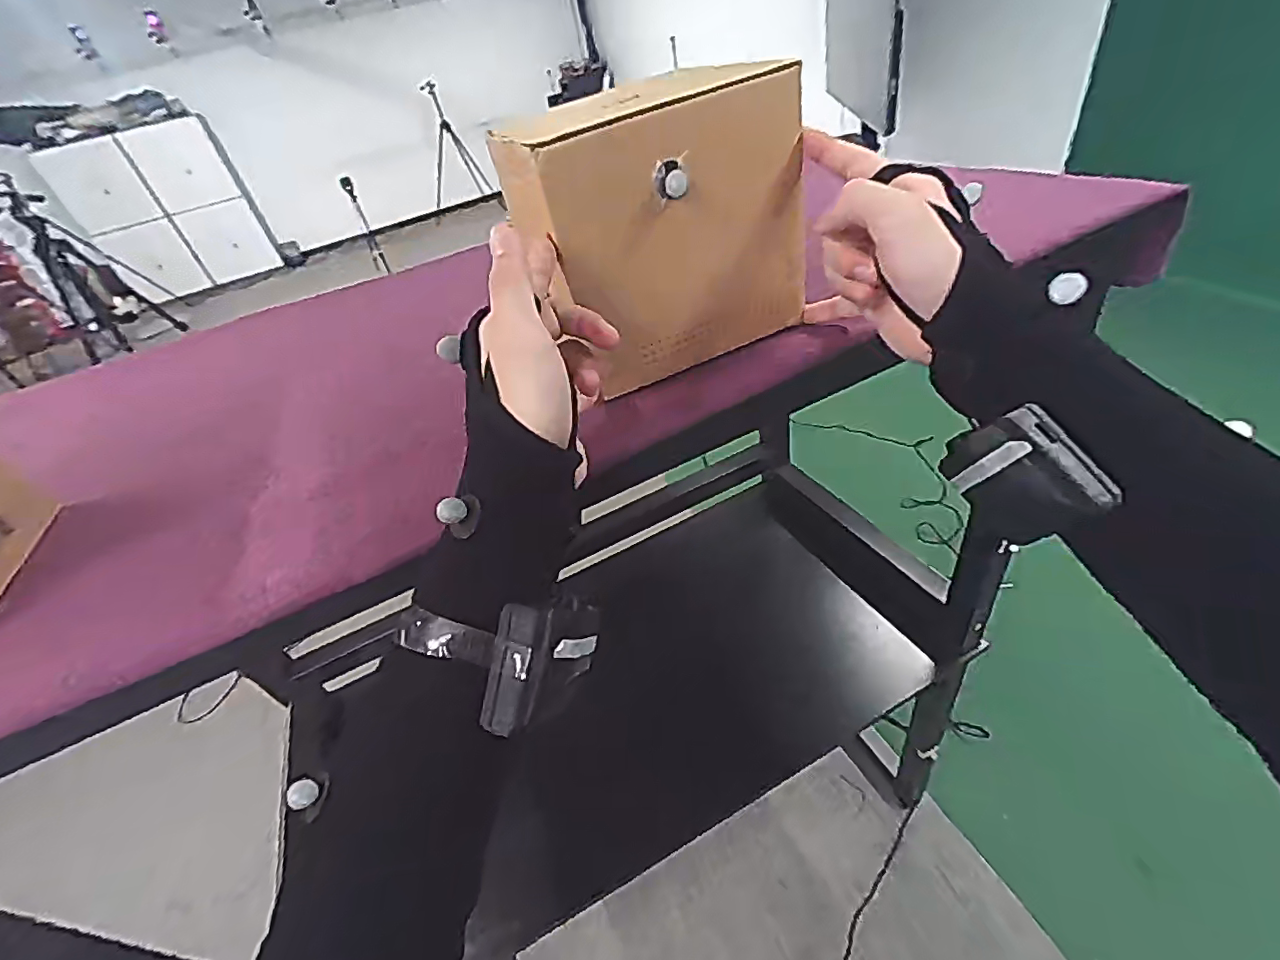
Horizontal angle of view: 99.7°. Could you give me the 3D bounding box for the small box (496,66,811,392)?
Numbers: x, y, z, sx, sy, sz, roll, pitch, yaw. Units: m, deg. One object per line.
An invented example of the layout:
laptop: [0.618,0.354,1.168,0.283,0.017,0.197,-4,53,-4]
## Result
small box: [0.011,-0.197,0.421,0.179,0.176,0.168,-24,40,-9]
